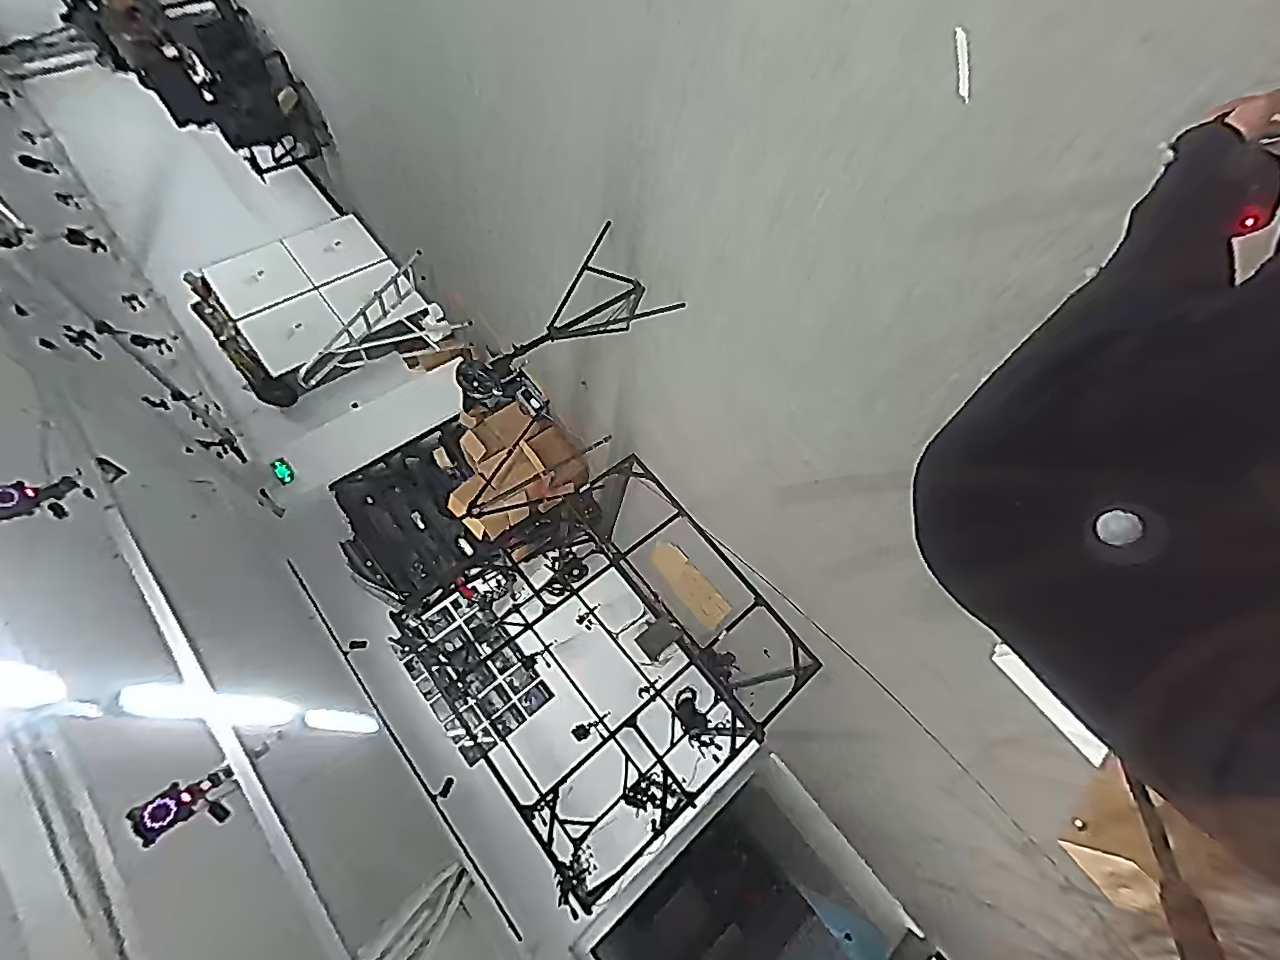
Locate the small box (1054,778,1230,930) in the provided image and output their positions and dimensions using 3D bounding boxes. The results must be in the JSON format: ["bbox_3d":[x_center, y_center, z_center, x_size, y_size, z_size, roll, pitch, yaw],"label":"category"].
[{"bbox_3d":[1.011,0.738,1.094,0.168,0.176,0.179,49,159,10],"label":"small box"}]
